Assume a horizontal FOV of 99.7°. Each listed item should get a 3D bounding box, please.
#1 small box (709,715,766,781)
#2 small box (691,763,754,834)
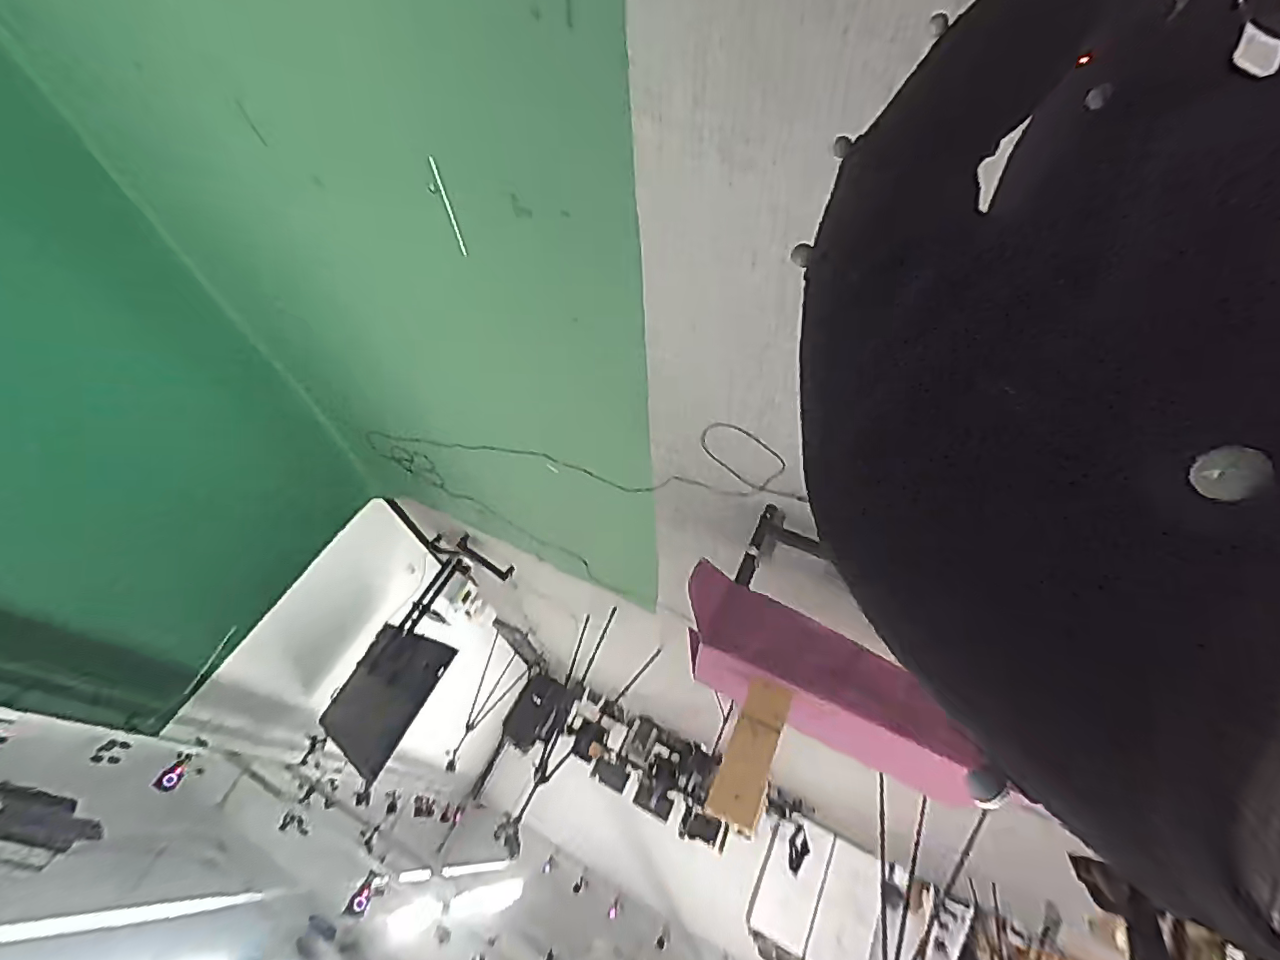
[{"bbox_3d":[0.371,1.021,2.044,0.168,0.176,0.179,19,149,21],"label":"small box"},{"bbox_3d":[0.305,1.154,1.973,0.179,0.176,0.168,17,150,23],"label":"small box"}]
